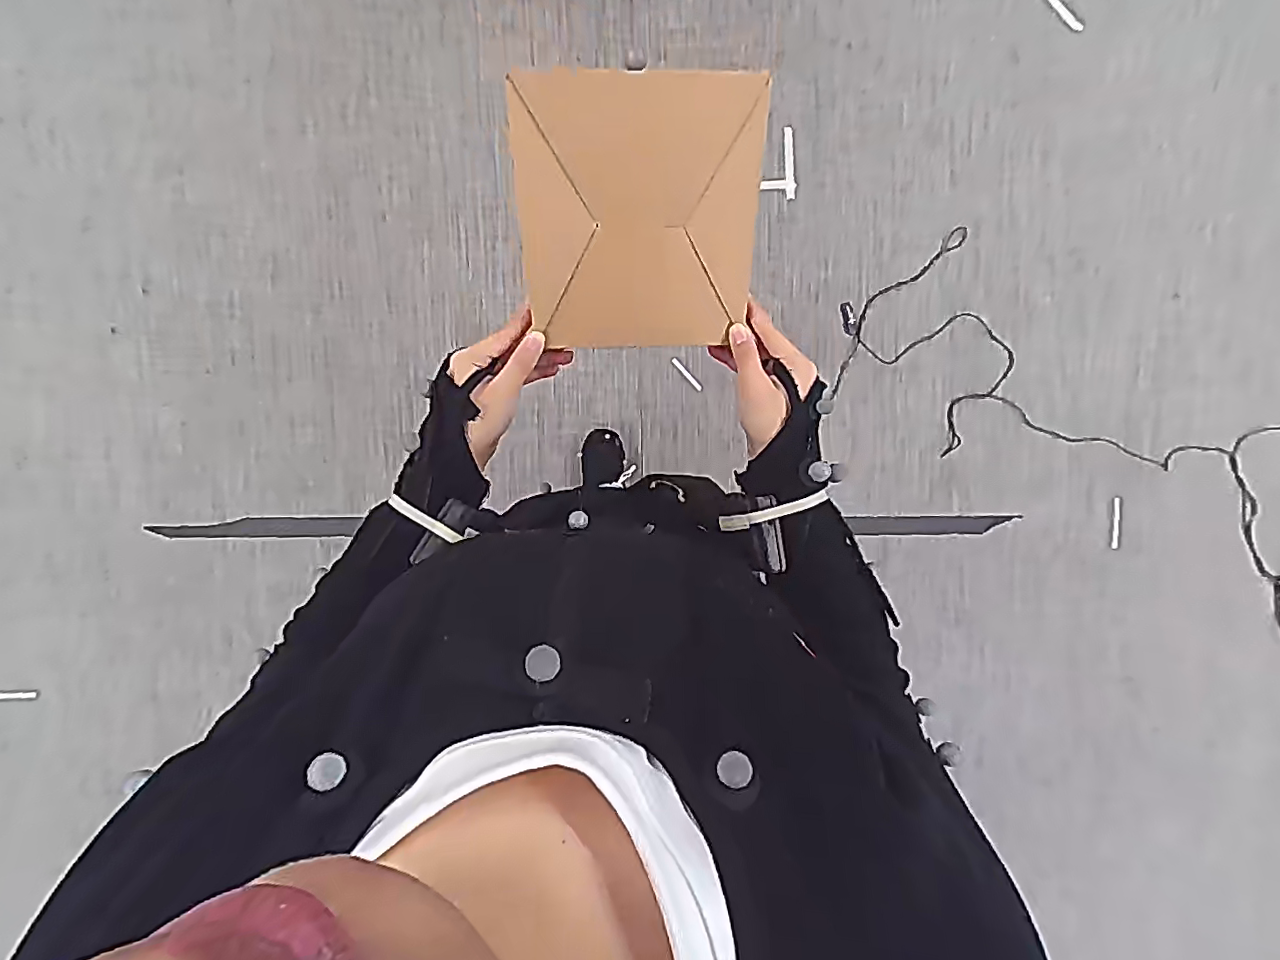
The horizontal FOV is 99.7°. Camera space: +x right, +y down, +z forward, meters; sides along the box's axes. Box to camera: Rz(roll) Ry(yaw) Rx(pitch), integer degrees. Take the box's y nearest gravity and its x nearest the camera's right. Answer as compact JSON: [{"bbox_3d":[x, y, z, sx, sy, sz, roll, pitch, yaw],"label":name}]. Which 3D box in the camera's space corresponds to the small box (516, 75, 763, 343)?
[{"bbox_3d":[-0.005,-0.224,0.452,0.168,0.176,0.179,-2,125,-4],"label":"small box"}]
